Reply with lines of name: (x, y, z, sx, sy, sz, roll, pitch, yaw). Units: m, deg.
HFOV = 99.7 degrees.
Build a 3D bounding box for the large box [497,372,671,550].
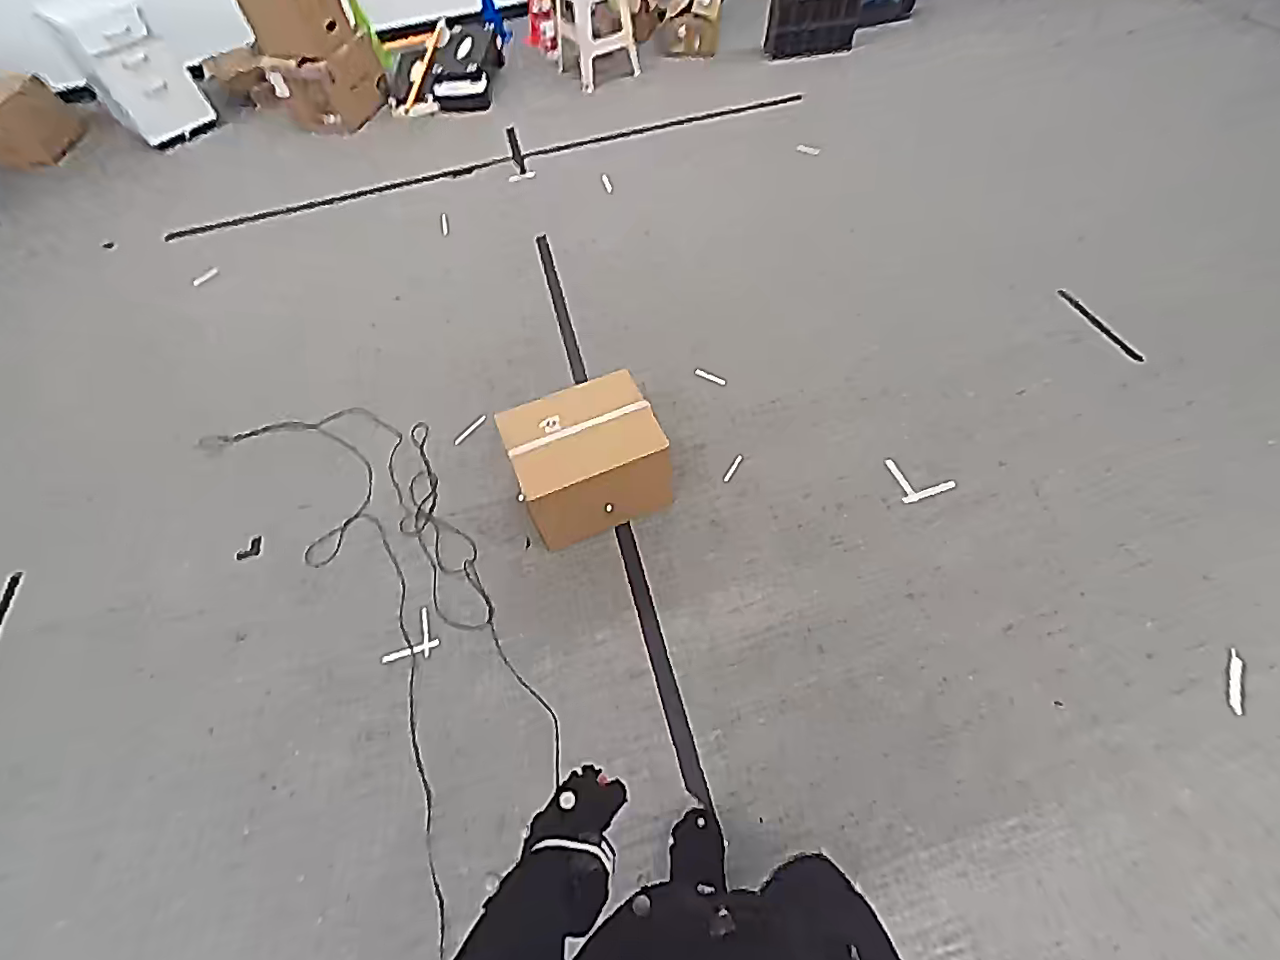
large box: (-0.150, -0.050, 1.595, 0.408, 0.320, 0.320, -22, 59, -8)
